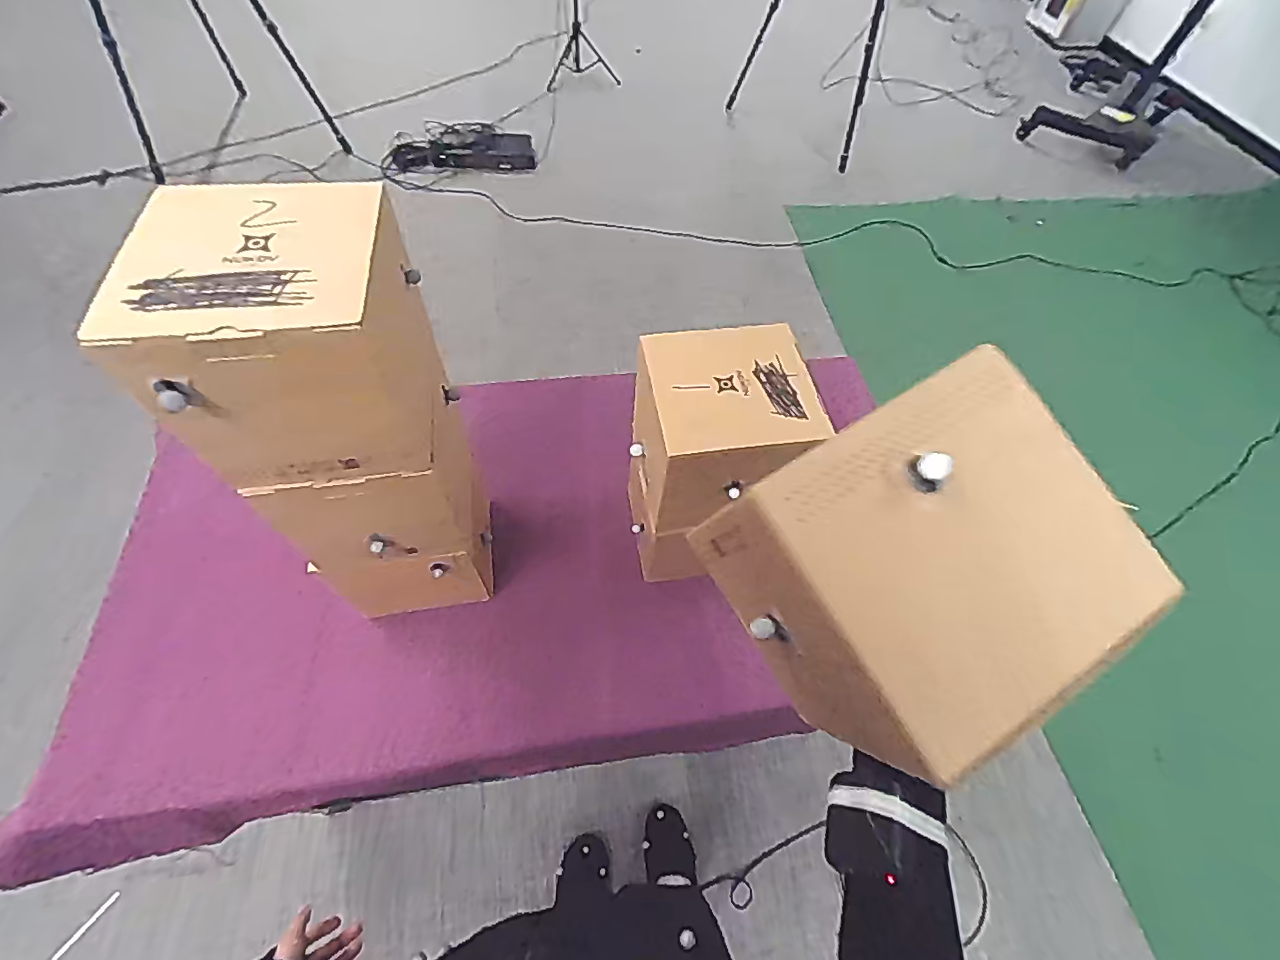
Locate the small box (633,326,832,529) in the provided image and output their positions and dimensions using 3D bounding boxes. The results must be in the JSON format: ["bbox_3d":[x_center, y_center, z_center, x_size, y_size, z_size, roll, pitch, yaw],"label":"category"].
[{"bbox_3d":[0.092,-0.057,0.639,0.179,0.176,0.168,-7,59,-7],"label":"small box"}]

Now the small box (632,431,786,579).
[{"bbox_3d":[0.084,0.032,0.776,0.179,0.176,0.168,-6,59,-8],"label":"small box"}]

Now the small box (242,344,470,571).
[{"bbox_3d":[-0.287,-0.022,0.592,0.168,0.176,0.179,-8,58,-9],"label":"small box"}]

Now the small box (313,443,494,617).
[{"bbox_3d":[-0.303,0.071,0.727,0.179,0.176,0.168,-7,58,-9],"label":"small box"}]
